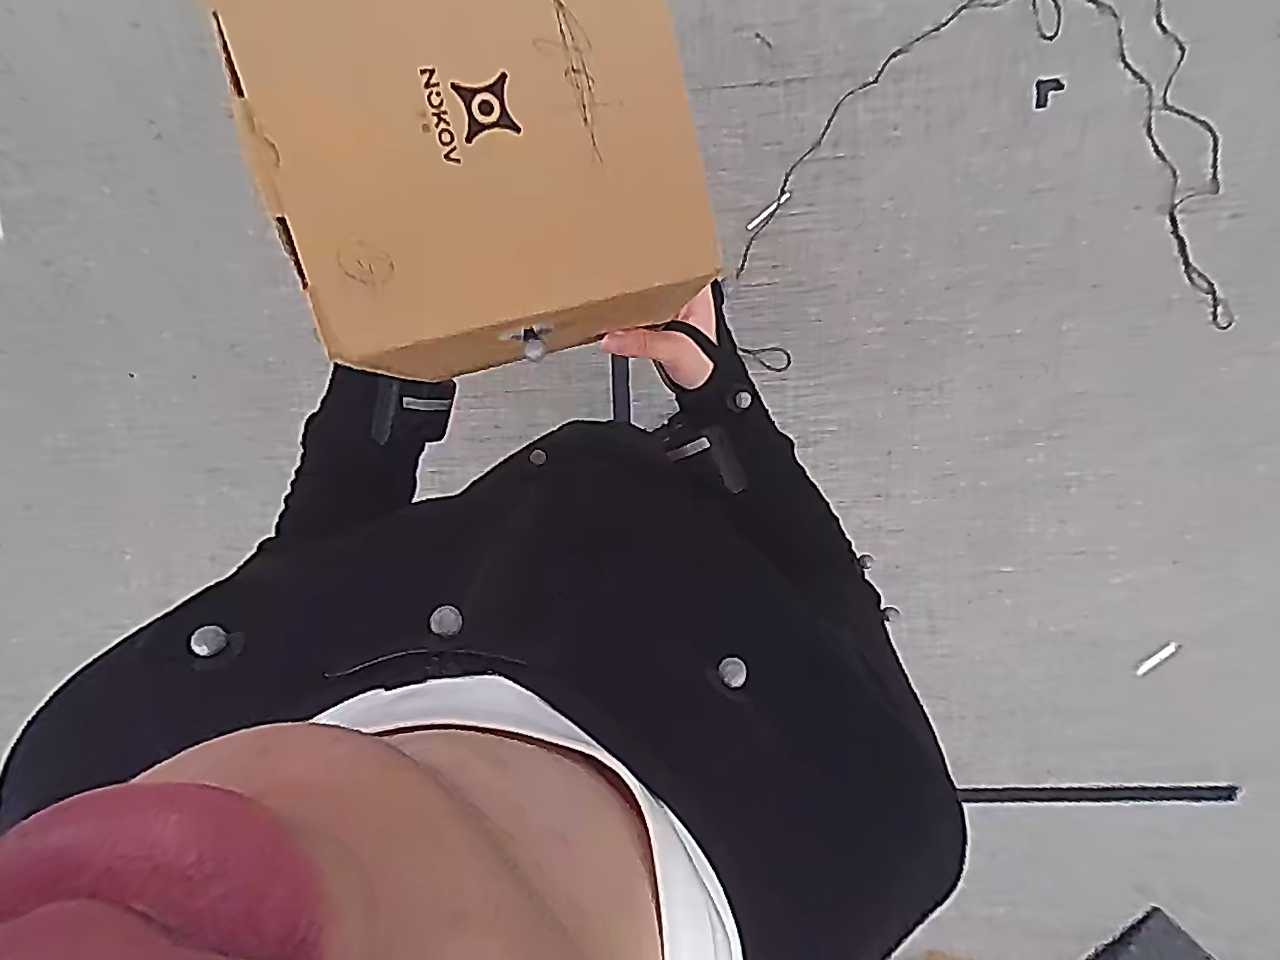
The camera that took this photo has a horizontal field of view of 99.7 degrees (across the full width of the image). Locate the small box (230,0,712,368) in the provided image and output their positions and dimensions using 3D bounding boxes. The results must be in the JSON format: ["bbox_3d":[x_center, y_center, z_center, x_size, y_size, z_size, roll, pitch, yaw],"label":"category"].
[{"bbox_3d":[-0.077,-0.167,0.310,0.179,0.176,0.168,-15,99,-6],"label":"small box"}]
